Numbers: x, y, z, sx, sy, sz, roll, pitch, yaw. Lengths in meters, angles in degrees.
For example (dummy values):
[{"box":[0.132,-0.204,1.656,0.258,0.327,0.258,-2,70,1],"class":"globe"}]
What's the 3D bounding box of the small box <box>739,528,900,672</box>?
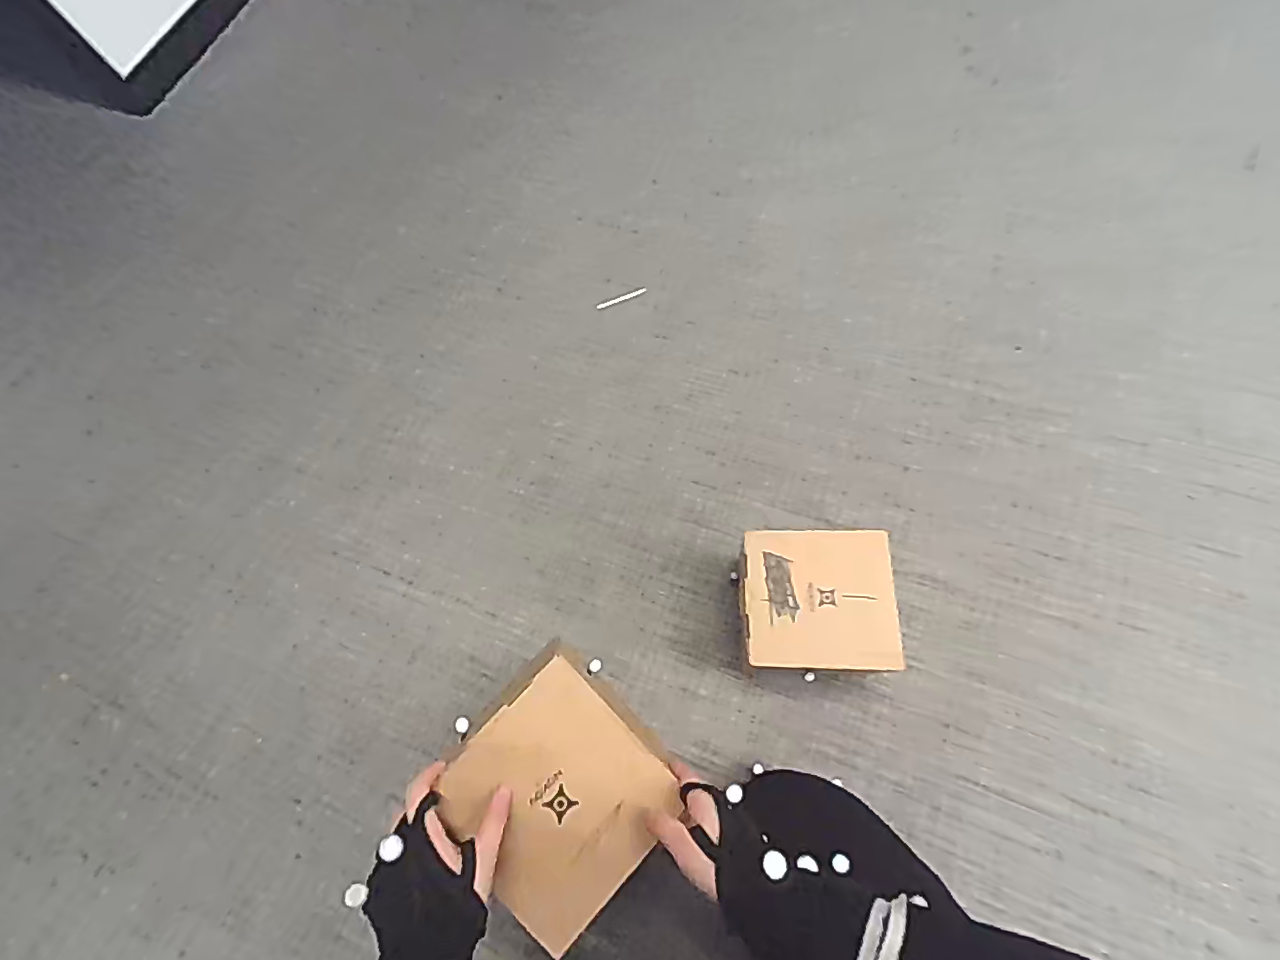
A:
[{"box":[0.224,0.166,0.726,0.179,0.176,0.168,-1,69,7],"class":"small box"}]
